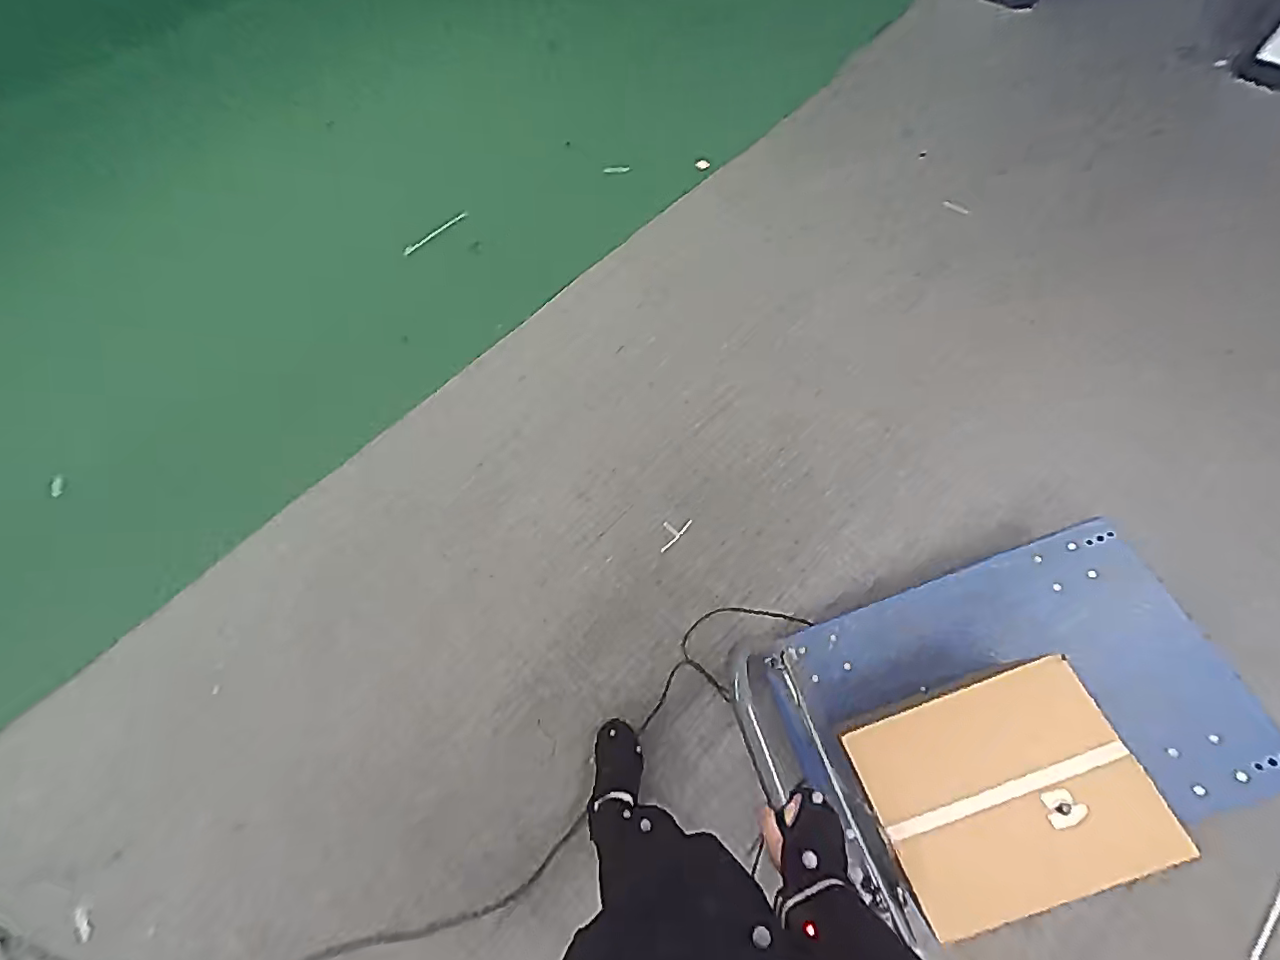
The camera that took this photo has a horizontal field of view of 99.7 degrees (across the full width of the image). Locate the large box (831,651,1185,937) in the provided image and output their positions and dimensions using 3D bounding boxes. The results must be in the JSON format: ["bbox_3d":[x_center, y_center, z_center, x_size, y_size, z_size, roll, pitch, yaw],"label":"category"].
[{"bbox_3d":[0.629,0.564,1.025,0.408,0.320,0.320,-24,64,5],"label":"large box"}]
